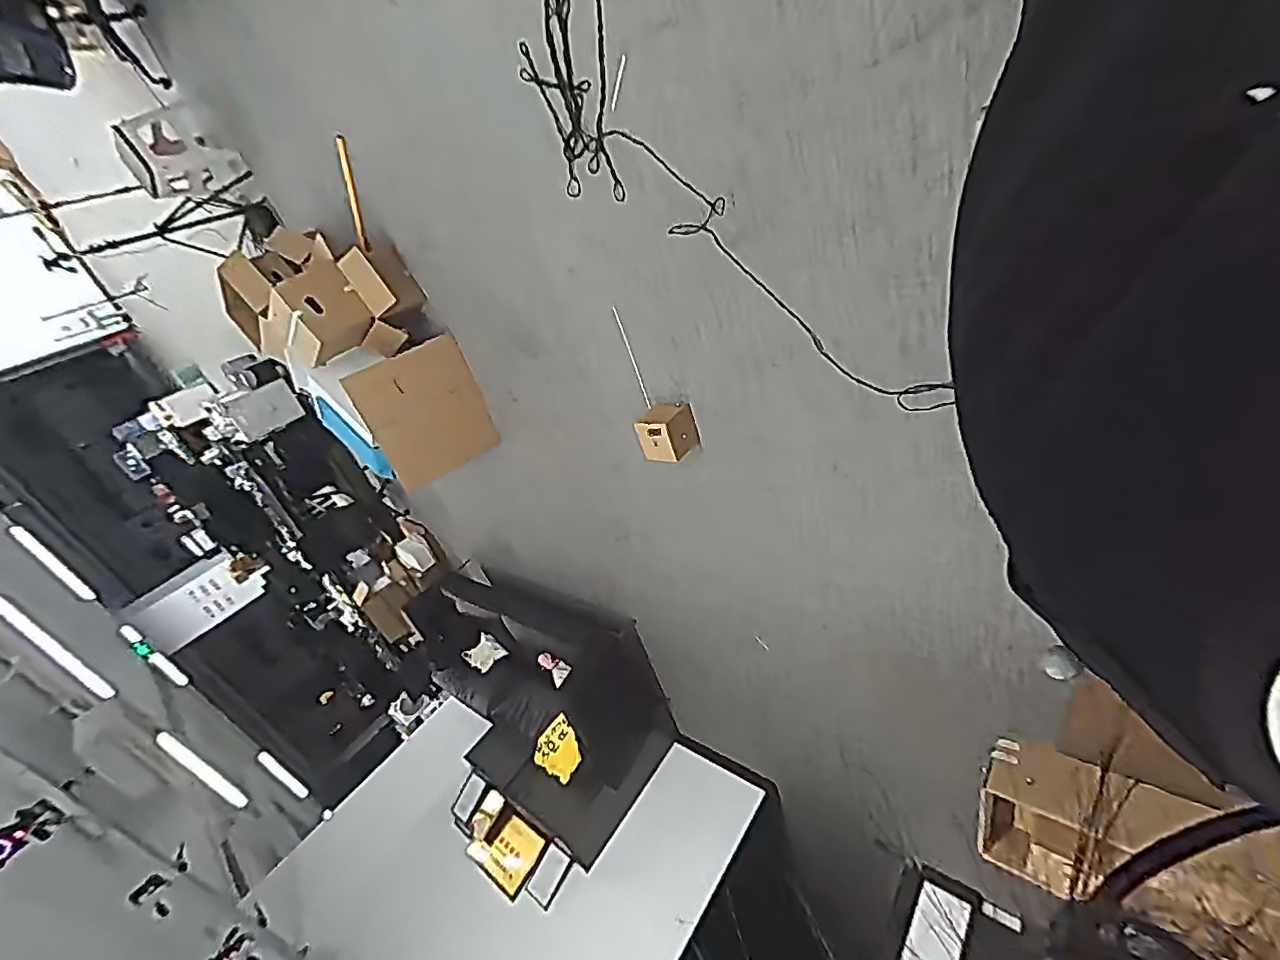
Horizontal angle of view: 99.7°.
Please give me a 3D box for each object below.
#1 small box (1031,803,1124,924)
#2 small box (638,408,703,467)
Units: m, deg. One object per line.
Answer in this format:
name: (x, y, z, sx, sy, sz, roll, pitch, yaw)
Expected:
small box: (1.159, 1.008, 1.432, 0.168, 0.176, 0.179, 10, 131, 39)
small box: (0.126, -0.175, 2.149, 0.168, 0.176, 0.179, 9, 130, 43)
